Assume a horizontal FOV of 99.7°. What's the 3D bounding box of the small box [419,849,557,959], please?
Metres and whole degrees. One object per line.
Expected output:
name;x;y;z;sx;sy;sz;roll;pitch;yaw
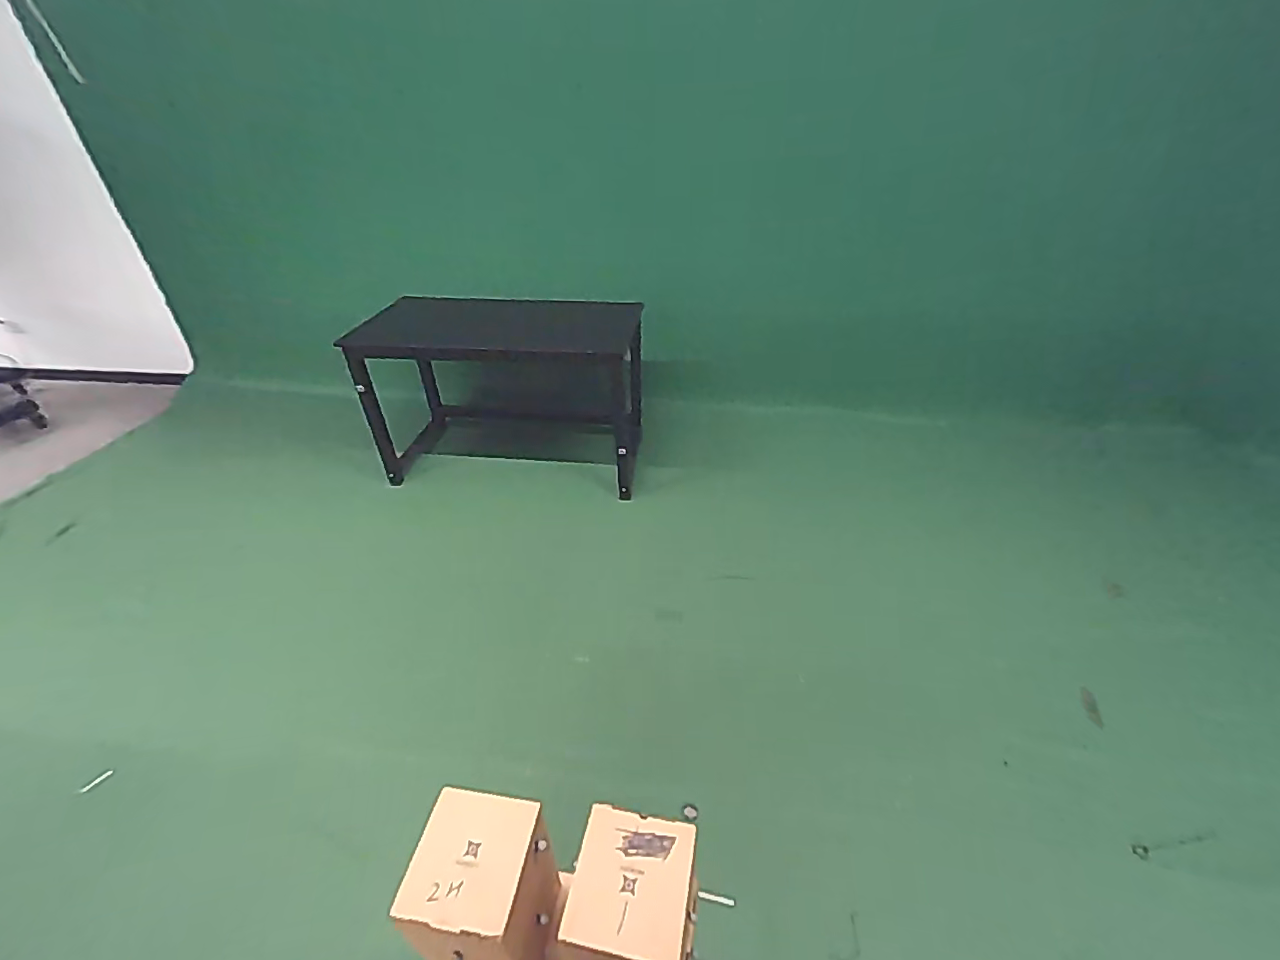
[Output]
small box;-0.246;0.749;0.927;0.168;0.176;0.179;5;36;9

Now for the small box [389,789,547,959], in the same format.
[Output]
small box;-0.247;0.615;0.830;0.168;0.176;0.179;4;36;8

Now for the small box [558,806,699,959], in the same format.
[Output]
small box;-0.008;0.627;0.798;0.168;0.176;0.179;5;36;12
